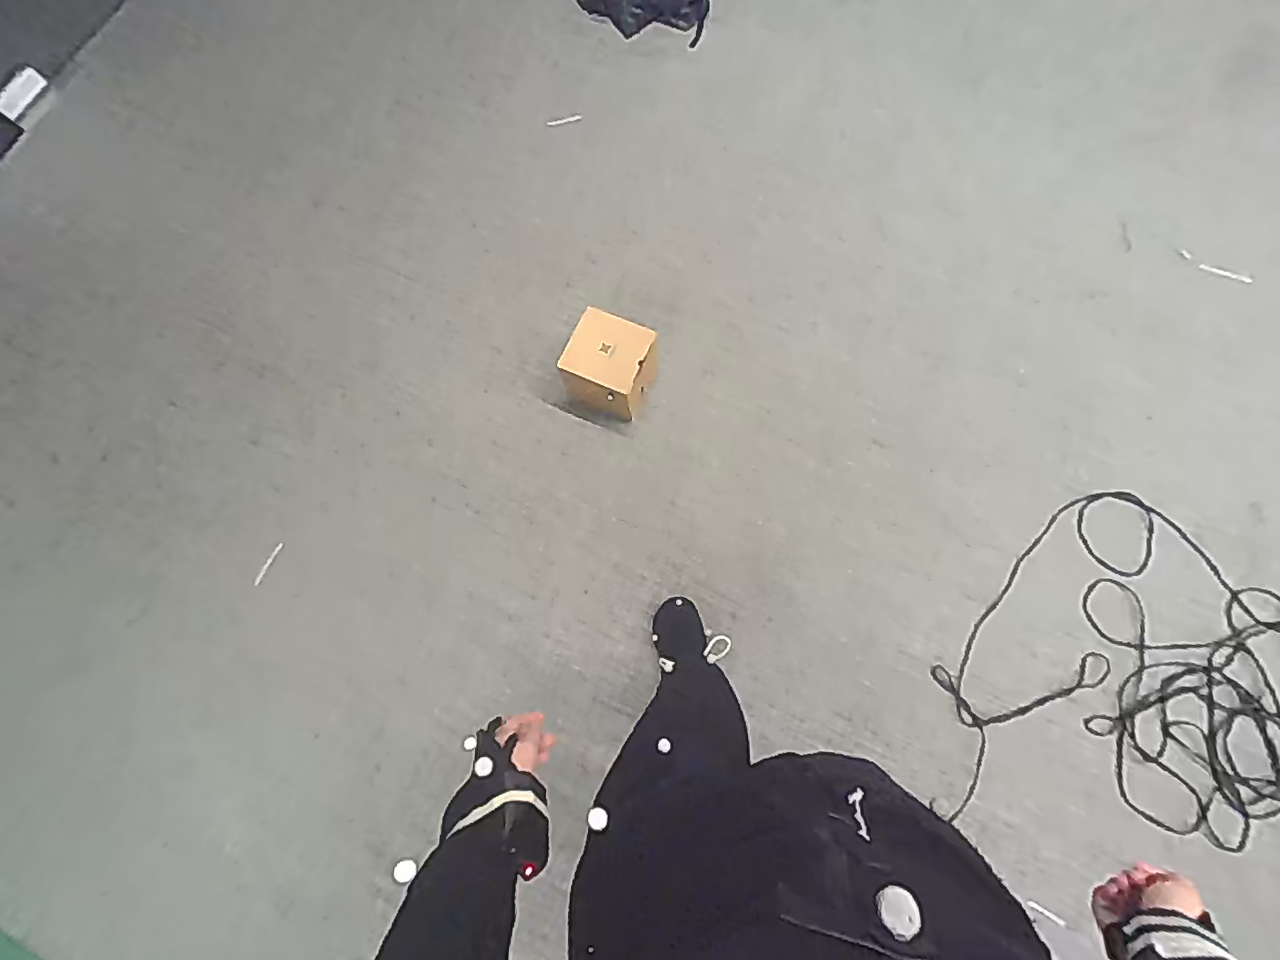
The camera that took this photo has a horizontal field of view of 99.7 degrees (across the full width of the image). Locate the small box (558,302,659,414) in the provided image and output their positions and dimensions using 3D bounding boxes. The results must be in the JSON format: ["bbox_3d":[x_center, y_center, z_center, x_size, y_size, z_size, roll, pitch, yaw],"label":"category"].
[{"bbox_3d":[-0.067,-0.276,1.258,0.179,0.176,0.168,24,78,7],"label":"small box"}]
